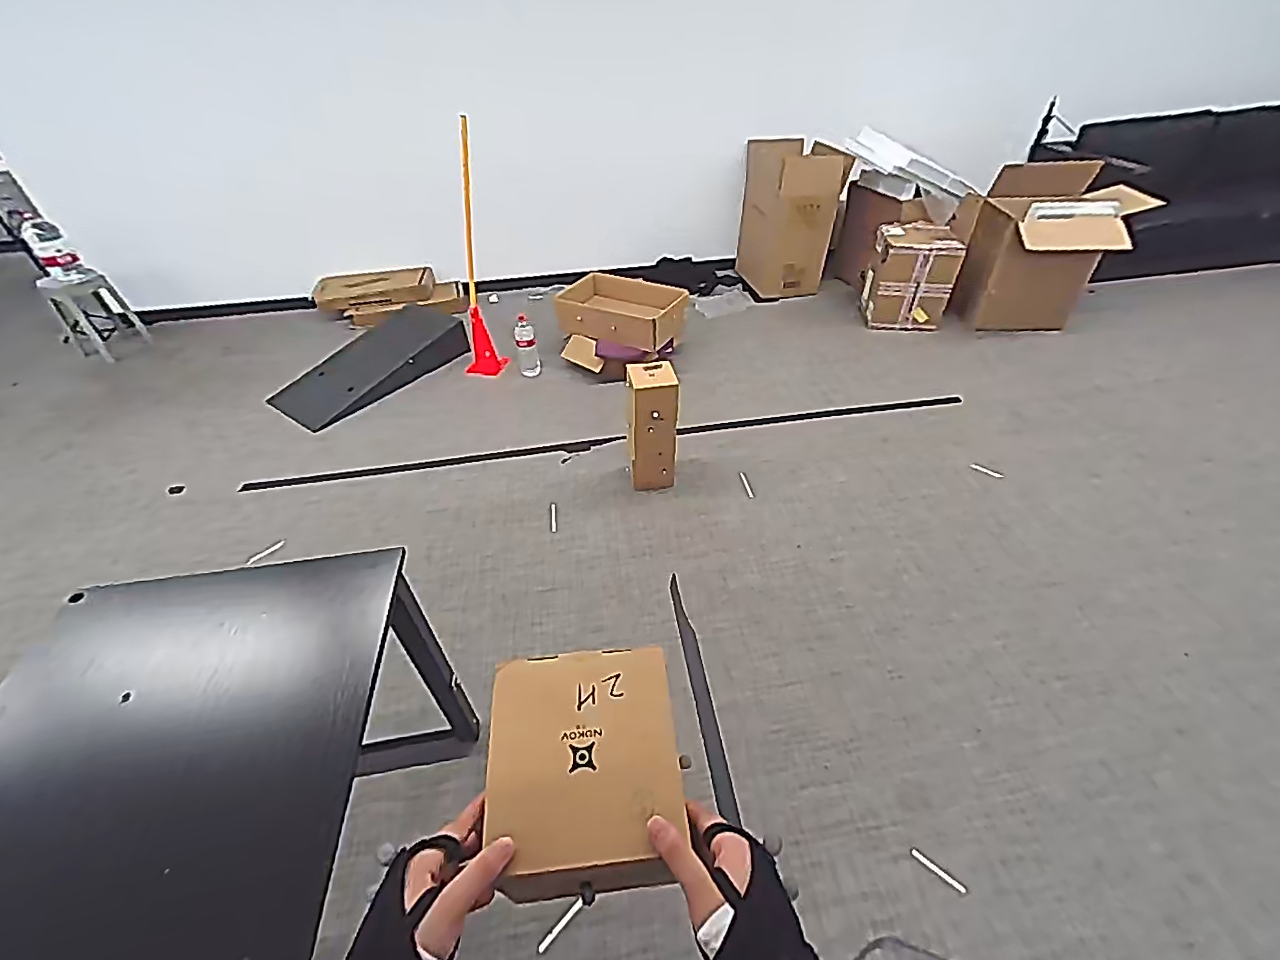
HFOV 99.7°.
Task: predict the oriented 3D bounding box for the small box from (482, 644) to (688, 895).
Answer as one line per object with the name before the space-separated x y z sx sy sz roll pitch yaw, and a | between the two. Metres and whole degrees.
small box | -0.048 0.288 0.532 0.168 0.176 0.179 -6 46 -4

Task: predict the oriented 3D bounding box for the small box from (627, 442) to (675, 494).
small box | 0.046 -0.060 2.258 0.179 0.176 0.168 -8 40 -5

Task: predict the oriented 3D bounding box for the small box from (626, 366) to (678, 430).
small box | 0.042 -0.309 2.043 0.168 0.176 0.179 -8 42 -7

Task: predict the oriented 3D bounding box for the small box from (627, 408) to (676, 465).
small box | 0.042 -0.183 2.150 0.168 0.176 0.179 -8 40 -7
